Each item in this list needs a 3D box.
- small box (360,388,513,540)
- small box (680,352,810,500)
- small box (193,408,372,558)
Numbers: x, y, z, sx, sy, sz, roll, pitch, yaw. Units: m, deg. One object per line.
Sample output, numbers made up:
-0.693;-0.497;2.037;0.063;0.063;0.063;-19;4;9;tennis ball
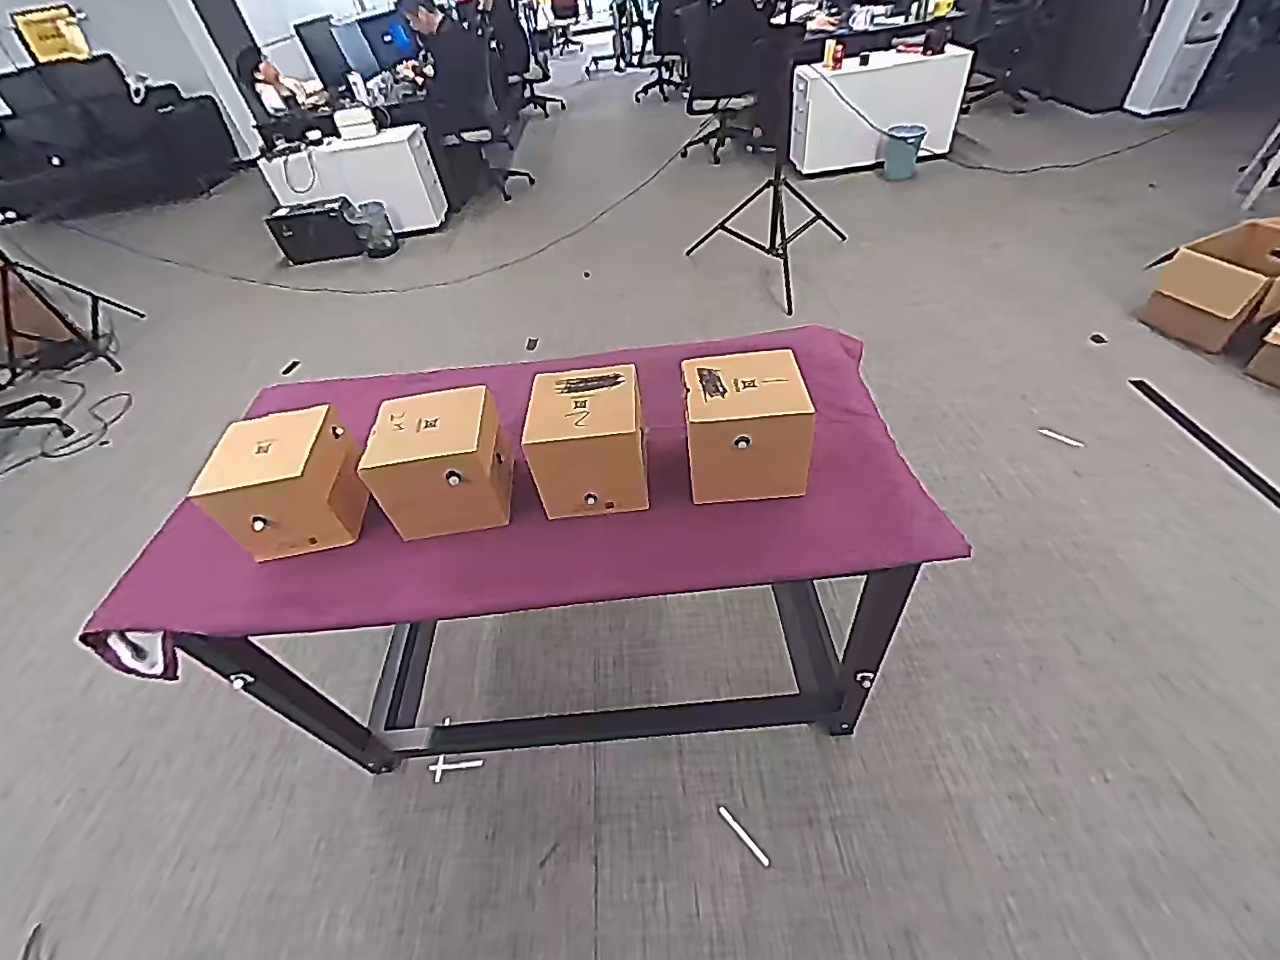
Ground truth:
-0.316;-0.024;0.885;0.179;0.176;0.168;-9;44;0;small box
0.161;-0.082;0.859;0.179;0.176;0.168;-5;44;5;small box
-0.570;0.011;0.896;0.168;0.176;0.179;-12;44;-2;small box
